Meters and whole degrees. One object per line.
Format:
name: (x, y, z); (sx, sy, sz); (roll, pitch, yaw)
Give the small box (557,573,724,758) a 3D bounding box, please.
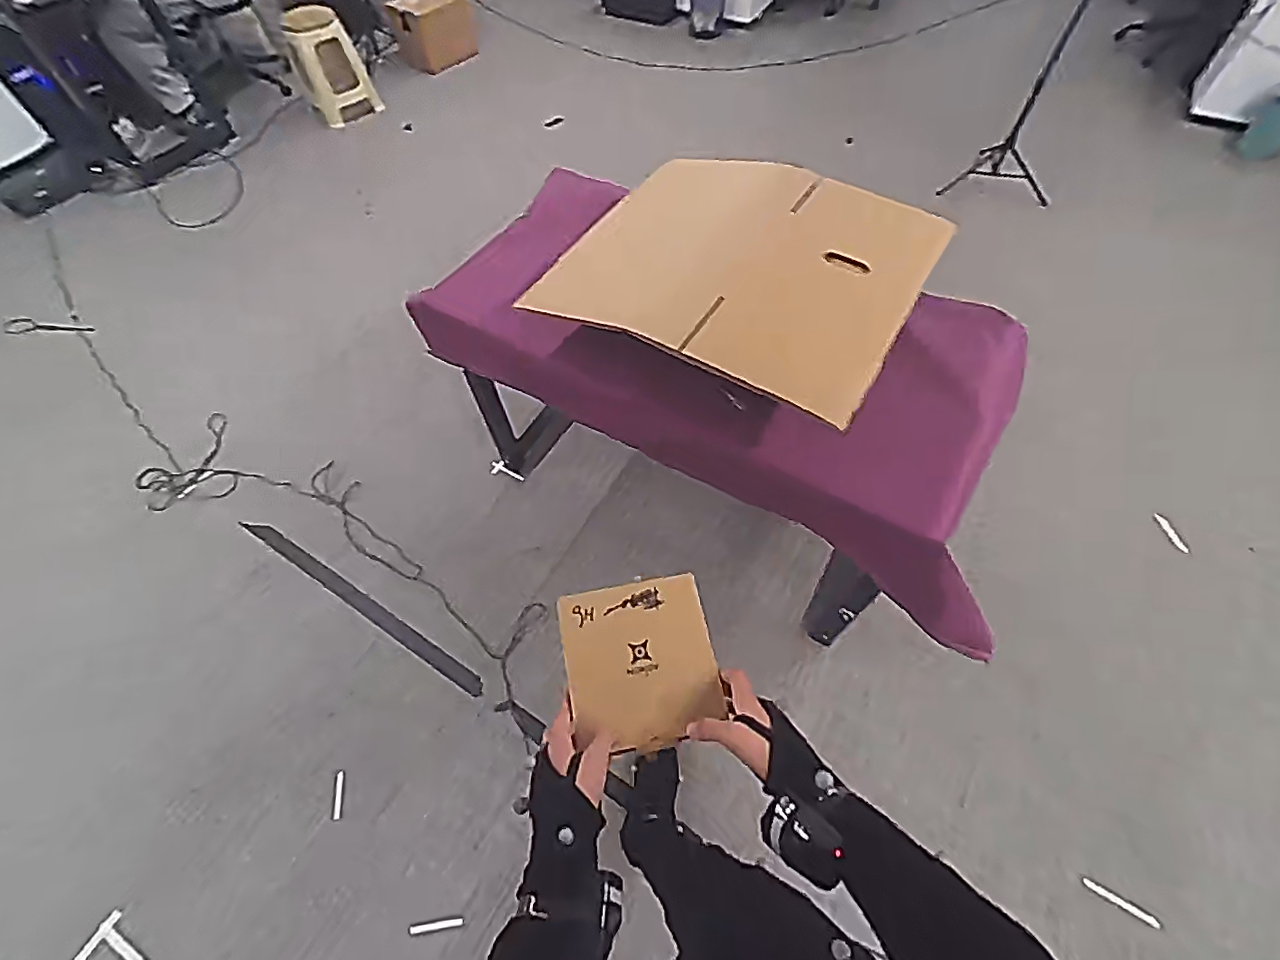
small box: (-0.007, 0.234, 0.679); (0.168, 0.176, 0.179); (-9, 65, -9)
